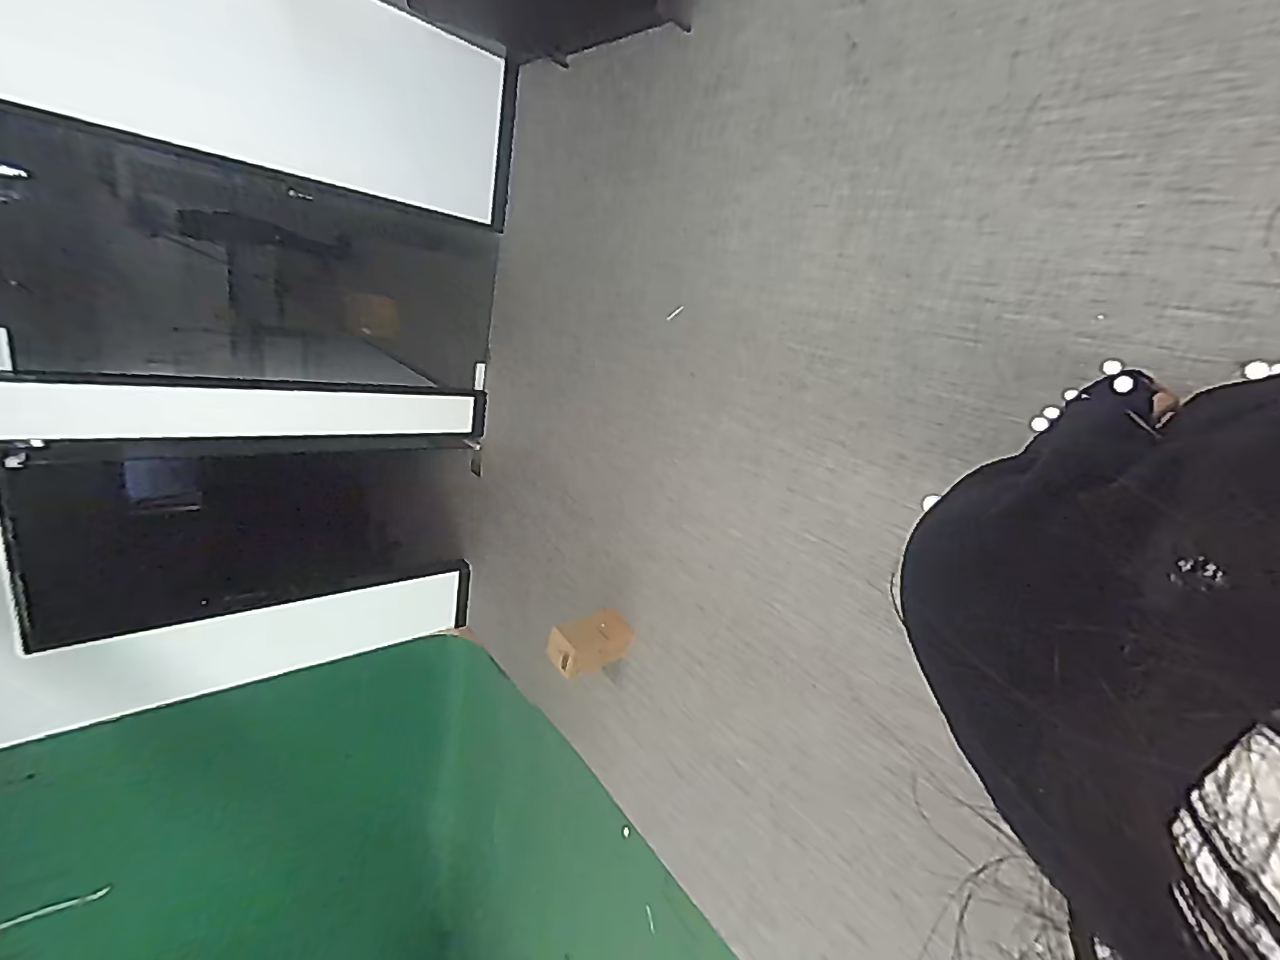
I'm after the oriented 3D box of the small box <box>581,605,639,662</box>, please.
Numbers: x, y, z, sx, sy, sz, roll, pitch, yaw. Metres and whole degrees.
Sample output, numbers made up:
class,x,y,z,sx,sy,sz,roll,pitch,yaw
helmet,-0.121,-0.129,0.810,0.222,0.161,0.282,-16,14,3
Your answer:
class,x,y,z,sx,sy,sz,roll,pitch,yaw
small box,-0.136,0.691,2.462,0.179,0.176,0.168,41,124,37
